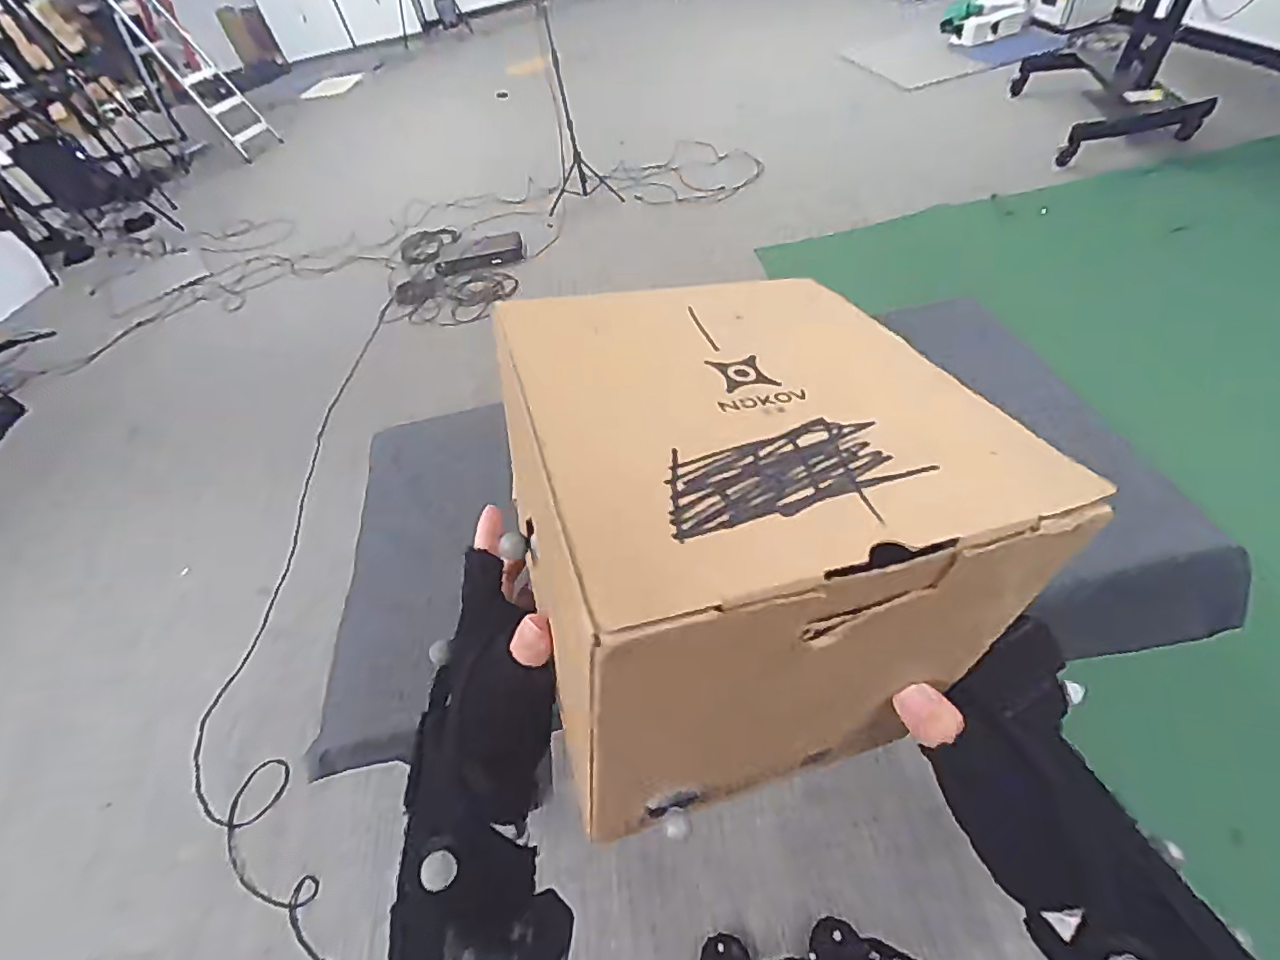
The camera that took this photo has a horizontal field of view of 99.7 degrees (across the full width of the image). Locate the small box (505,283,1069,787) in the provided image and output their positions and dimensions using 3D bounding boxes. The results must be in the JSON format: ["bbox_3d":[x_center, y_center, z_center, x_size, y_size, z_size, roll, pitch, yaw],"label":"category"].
[{"bbox_3d":[0.035,0.023,0.267,0.168,0.176,0.179,-10,44,-16],"label":"small box"}]
